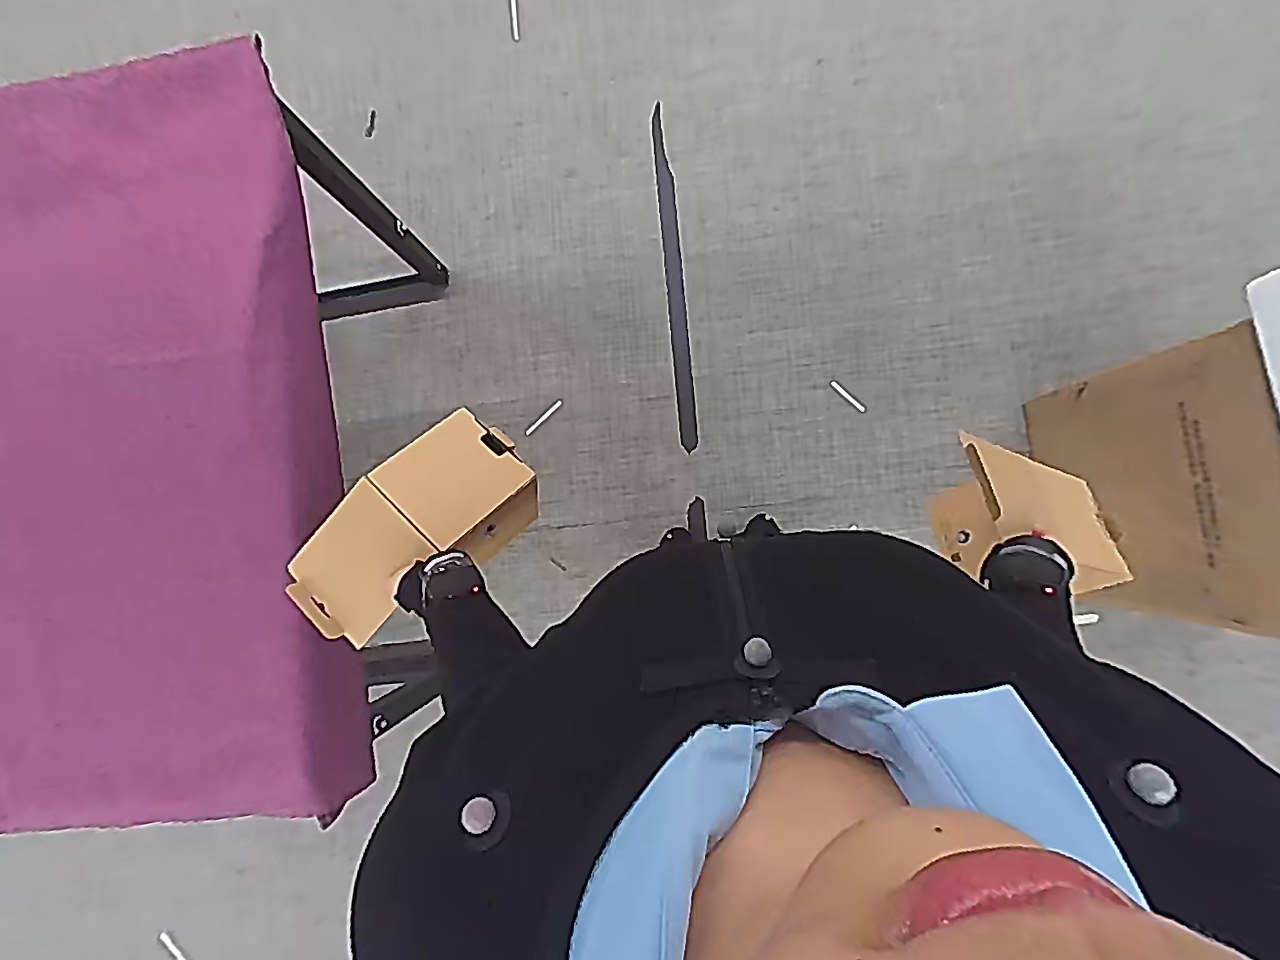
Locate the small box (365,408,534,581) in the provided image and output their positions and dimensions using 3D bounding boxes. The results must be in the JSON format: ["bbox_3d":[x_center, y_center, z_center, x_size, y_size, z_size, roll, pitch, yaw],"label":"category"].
[{"bbox_3d":[-0.277,0.030,0.835,0.168,0.176,0.179,42,65,11],"label":"small box"}]
